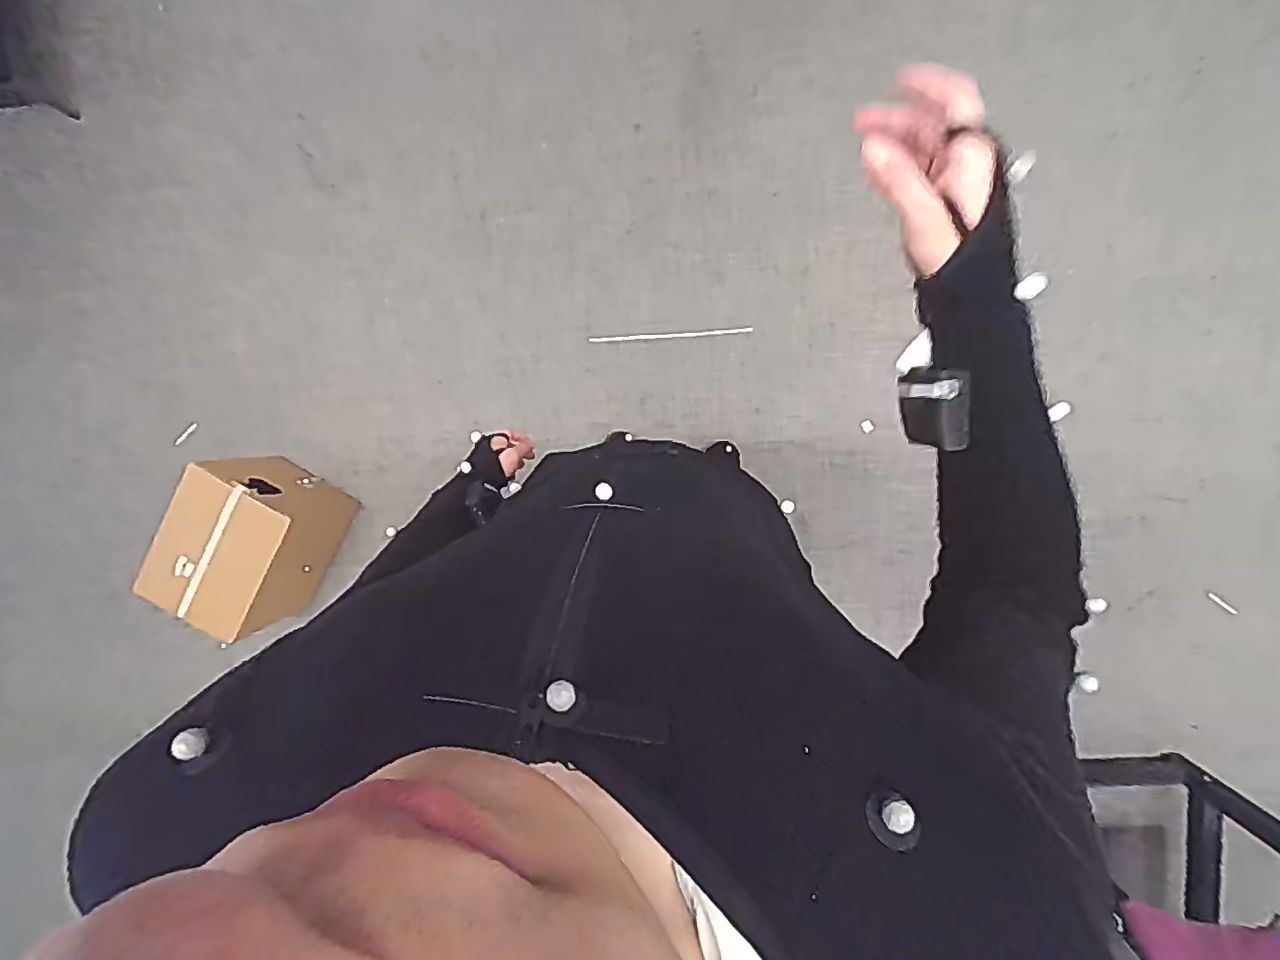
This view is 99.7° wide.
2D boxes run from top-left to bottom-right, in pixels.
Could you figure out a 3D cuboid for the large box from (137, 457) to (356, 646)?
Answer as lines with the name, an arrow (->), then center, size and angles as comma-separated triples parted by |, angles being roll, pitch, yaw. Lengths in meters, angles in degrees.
large box -> -1.116, 0.184, 1.571 | 0.320, 0.320, 0.408 | 30, 98, 1
